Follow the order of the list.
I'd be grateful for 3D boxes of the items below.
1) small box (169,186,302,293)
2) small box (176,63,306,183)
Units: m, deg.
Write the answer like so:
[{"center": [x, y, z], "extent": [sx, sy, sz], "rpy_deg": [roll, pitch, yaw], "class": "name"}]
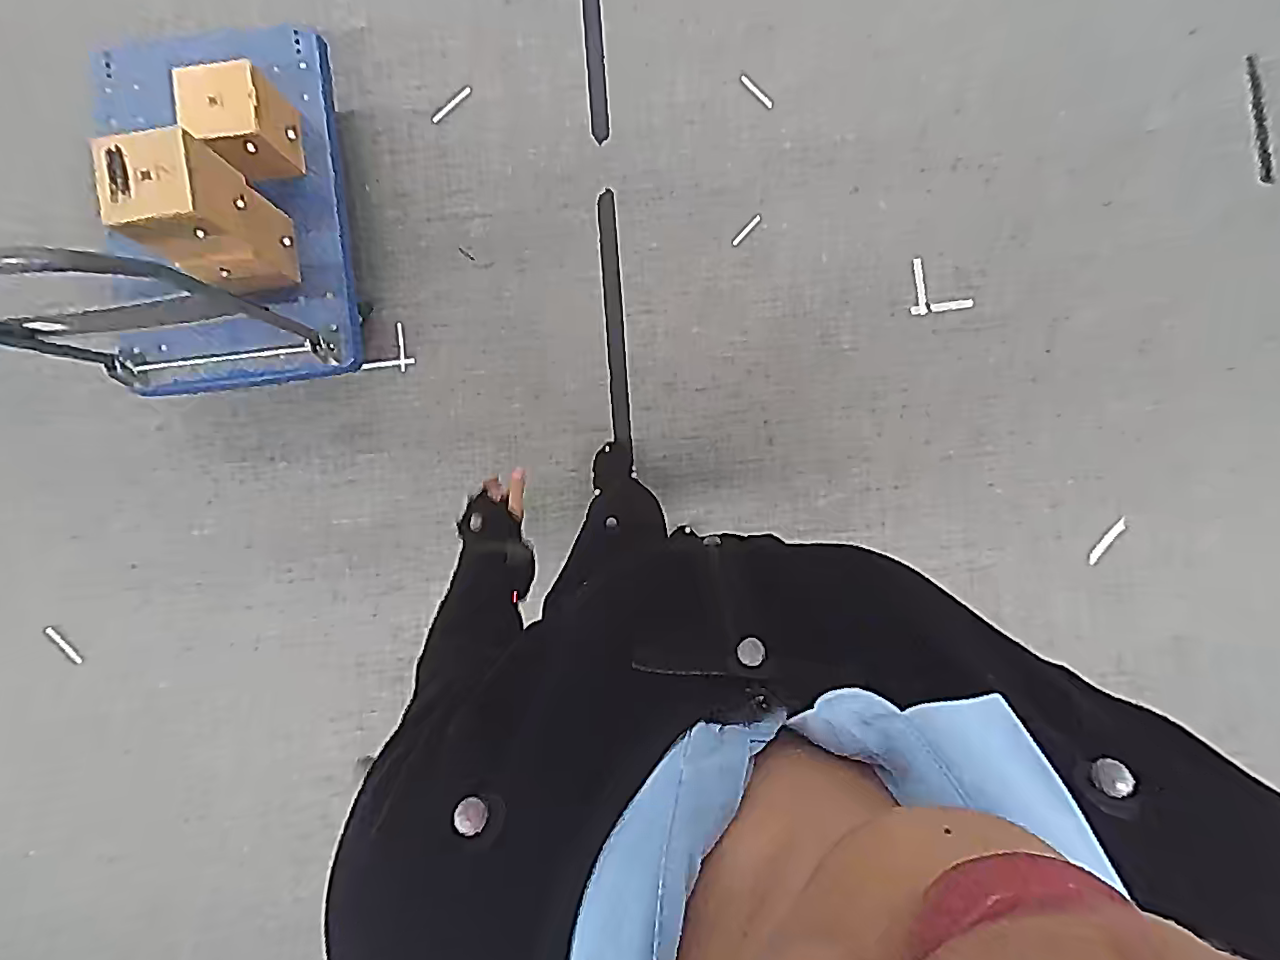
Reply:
[{"center": [-0.930, -0.548, 1.255], "extent": [0.179, 0.176, 0.168], "rpy_deg": [-8, 89, 0], "class": "small box"}, {"center": [-0.922, -0.821, 1.261], "extent": [0.179, 0.176, 0.168], "rpy_deg": [-7, 89, 0], "class": "small box"}]
